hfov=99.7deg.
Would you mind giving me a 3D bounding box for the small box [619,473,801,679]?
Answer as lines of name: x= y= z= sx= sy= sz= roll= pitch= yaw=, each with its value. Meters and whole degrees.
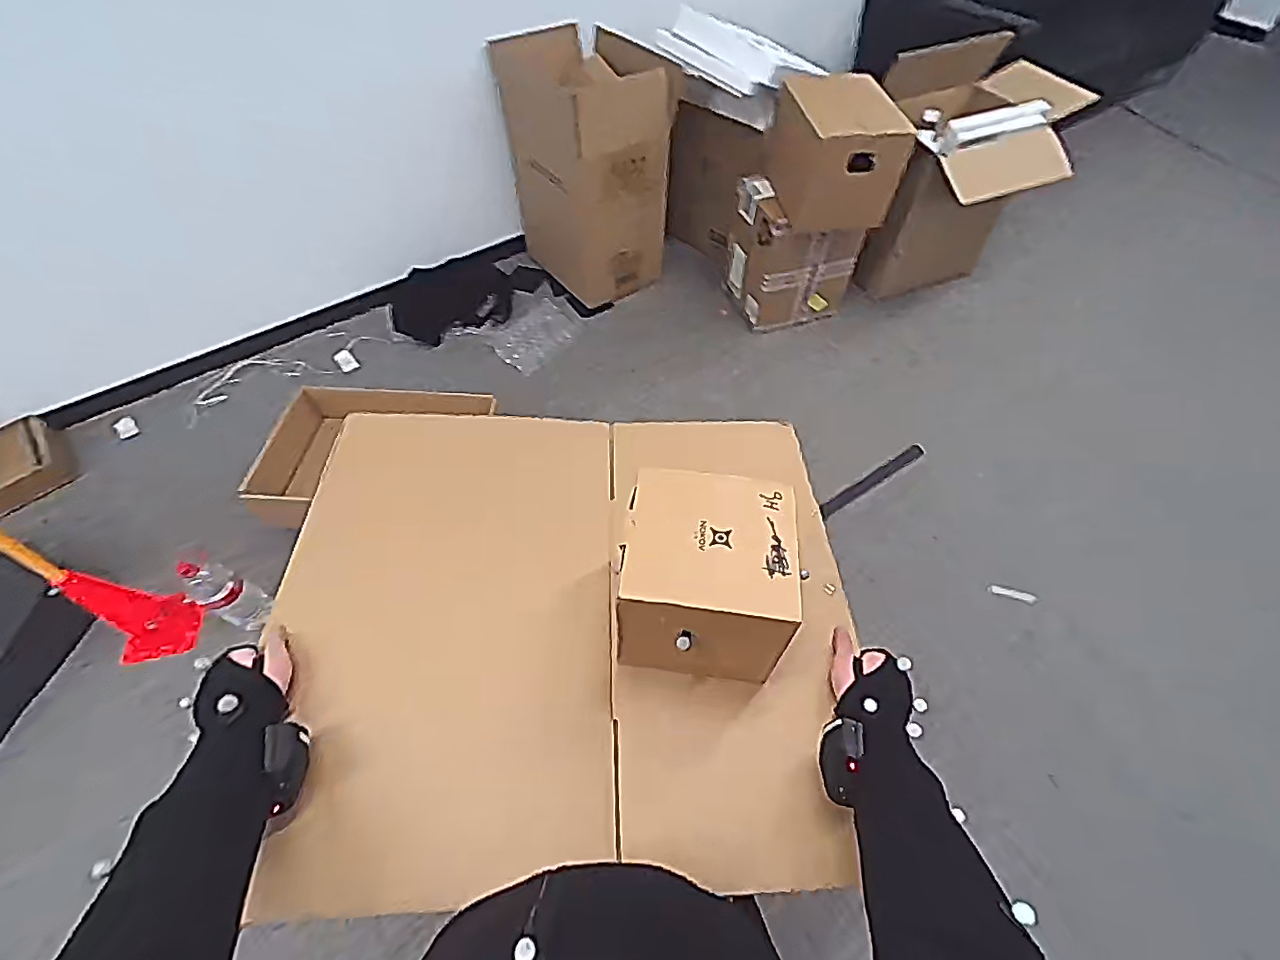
small box: x=0.076 y=0.114 z=0.621 sx=0.179 sy=0.176 sz=0.168 roll=7 pitch=52 yaw=5
